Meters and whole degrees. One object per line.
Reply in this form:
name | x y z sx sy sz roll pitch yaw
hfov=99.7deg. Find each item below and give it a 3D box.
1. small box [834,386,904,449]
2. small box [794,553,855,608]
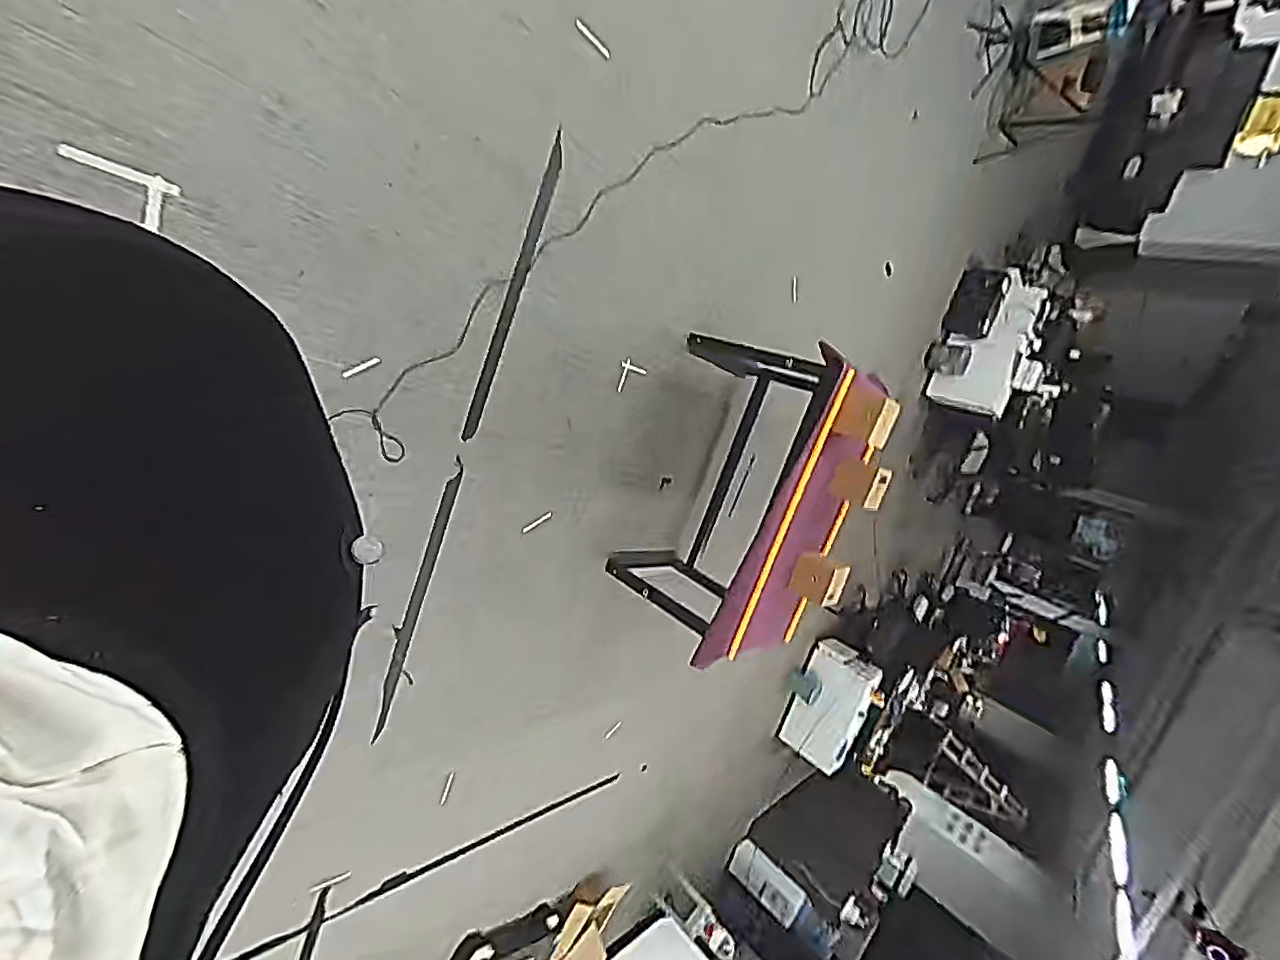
small box | 0.855 -0.235 2.034 0.168 0.176 0.179 7 106 -49
small box | 0.786 0.426 2.320 0.168 0.176 0.179 6 105 -48
